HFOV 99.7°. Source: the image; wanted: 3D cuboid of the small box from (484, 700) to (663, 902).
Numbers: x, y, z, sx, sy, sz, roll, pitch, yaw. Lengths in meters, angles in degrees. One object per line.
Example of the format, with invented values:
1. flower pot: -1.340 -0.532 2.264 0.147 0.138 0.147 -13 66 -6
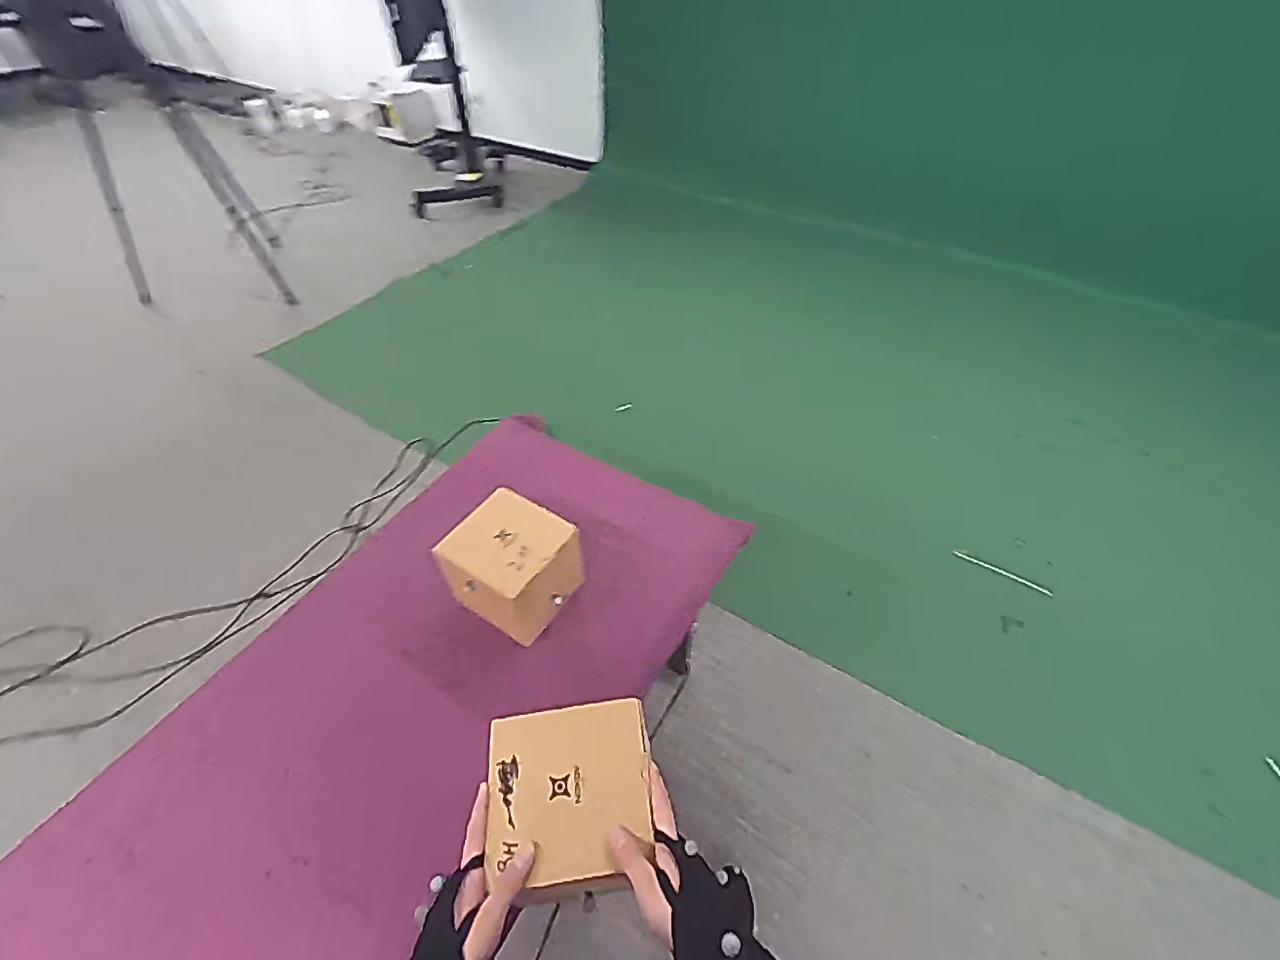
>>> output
1. small box: -0.068 0.377 0.632 0.179 0.176 0.168 -7 48 -1

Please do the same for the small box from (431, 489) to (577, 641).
1. small box: -0.230 0.153 0.956 0.179 0.176 0.168 26 53 21
